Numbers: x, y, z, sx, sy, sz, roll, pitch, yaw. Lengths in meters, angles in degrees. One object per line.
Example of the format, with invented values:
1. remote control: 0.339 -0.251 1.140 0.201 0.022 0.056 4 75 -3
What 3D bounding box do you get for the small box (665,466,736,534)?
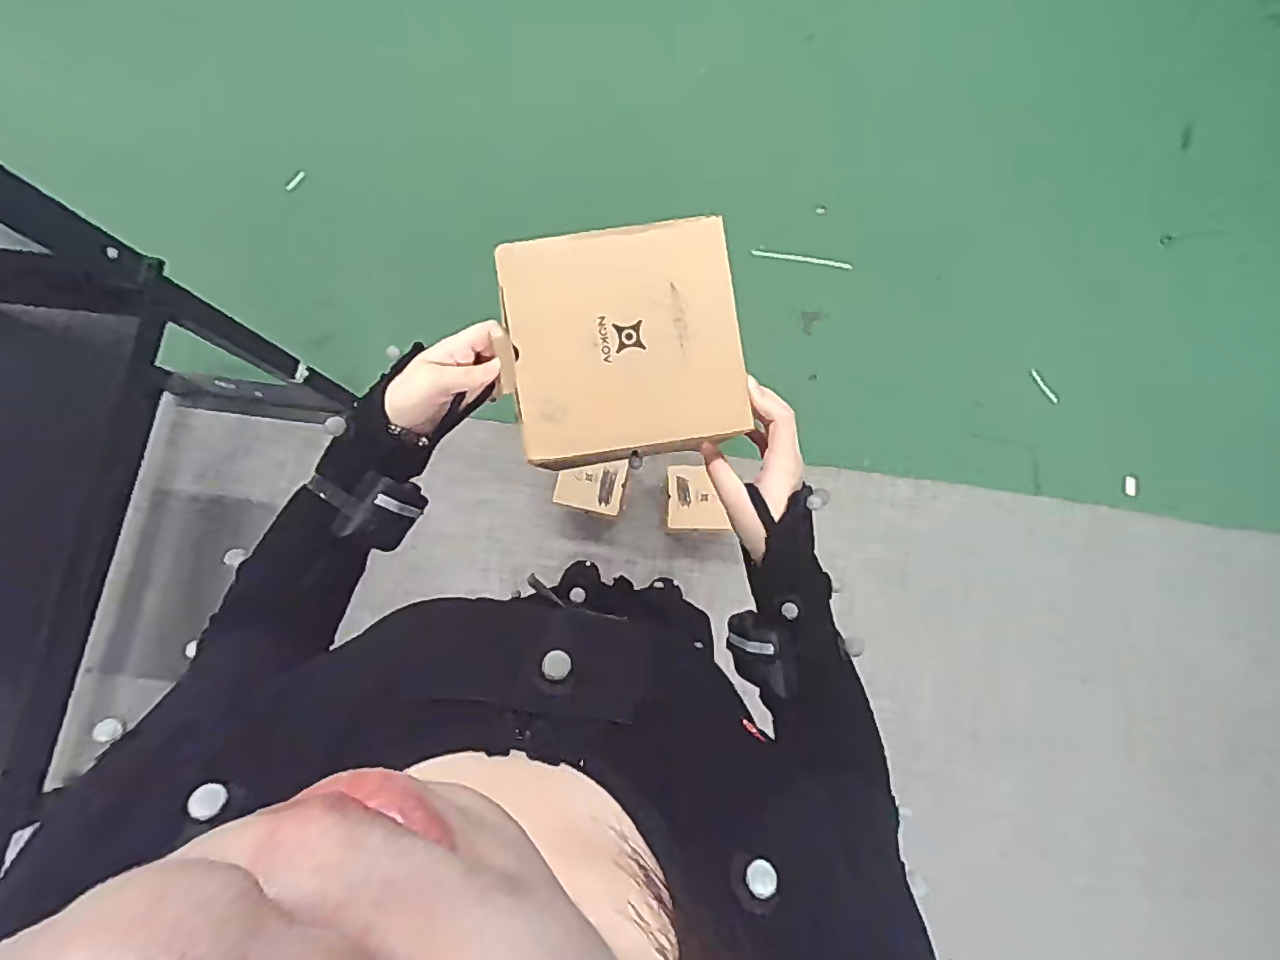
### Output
1. small box: 0.159 0.058 1.459 0.179 0.176 0.168 1 81 -1
